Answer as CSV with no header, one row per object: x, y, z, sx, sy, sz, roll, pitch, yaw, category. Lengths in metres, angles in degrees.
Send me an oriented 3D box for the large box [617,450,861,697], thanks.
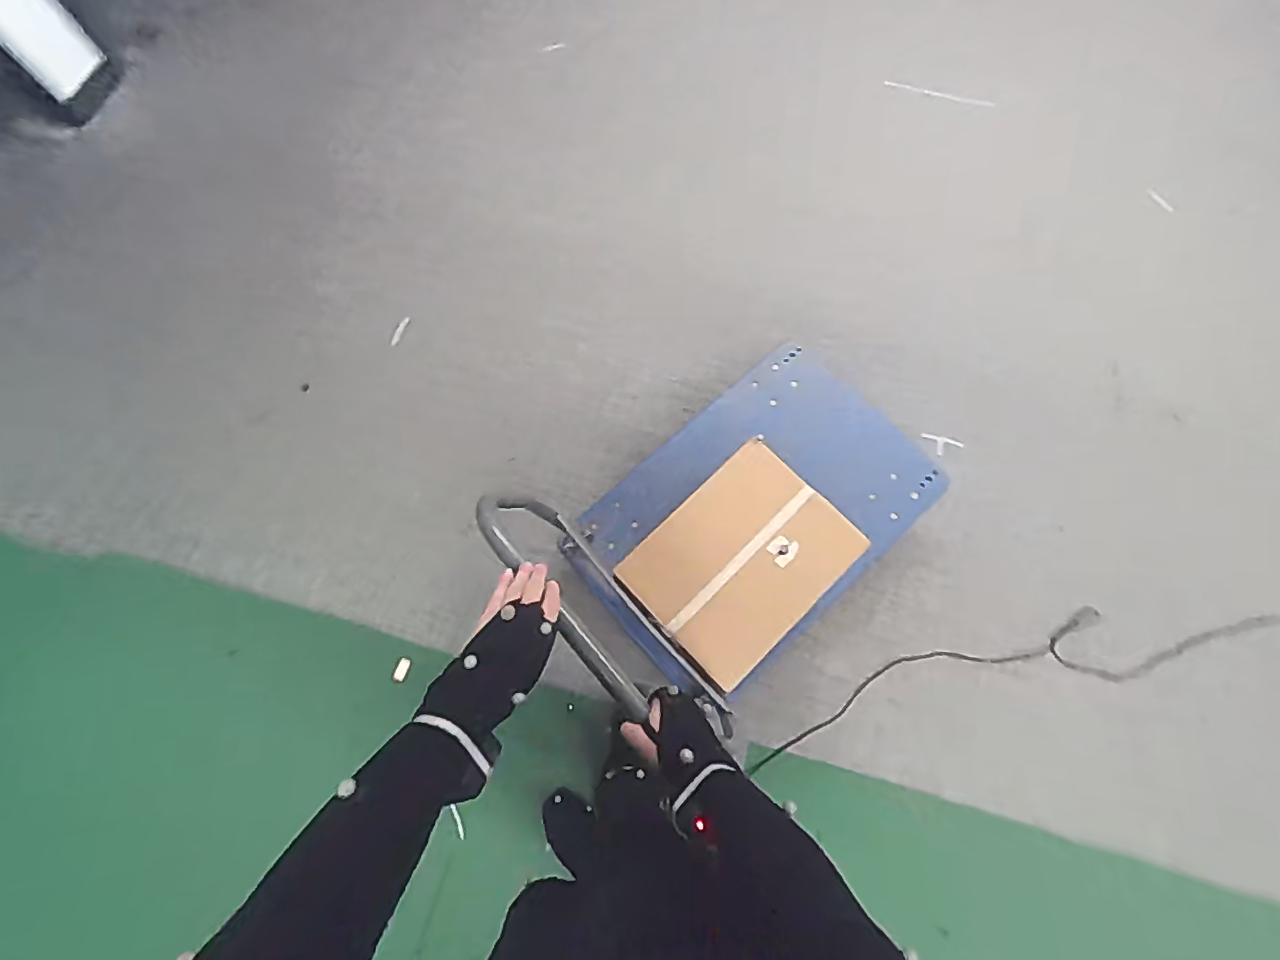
0.200,0.214,1.212,0.408,0.320,0.320,-42,78,-10,large box
